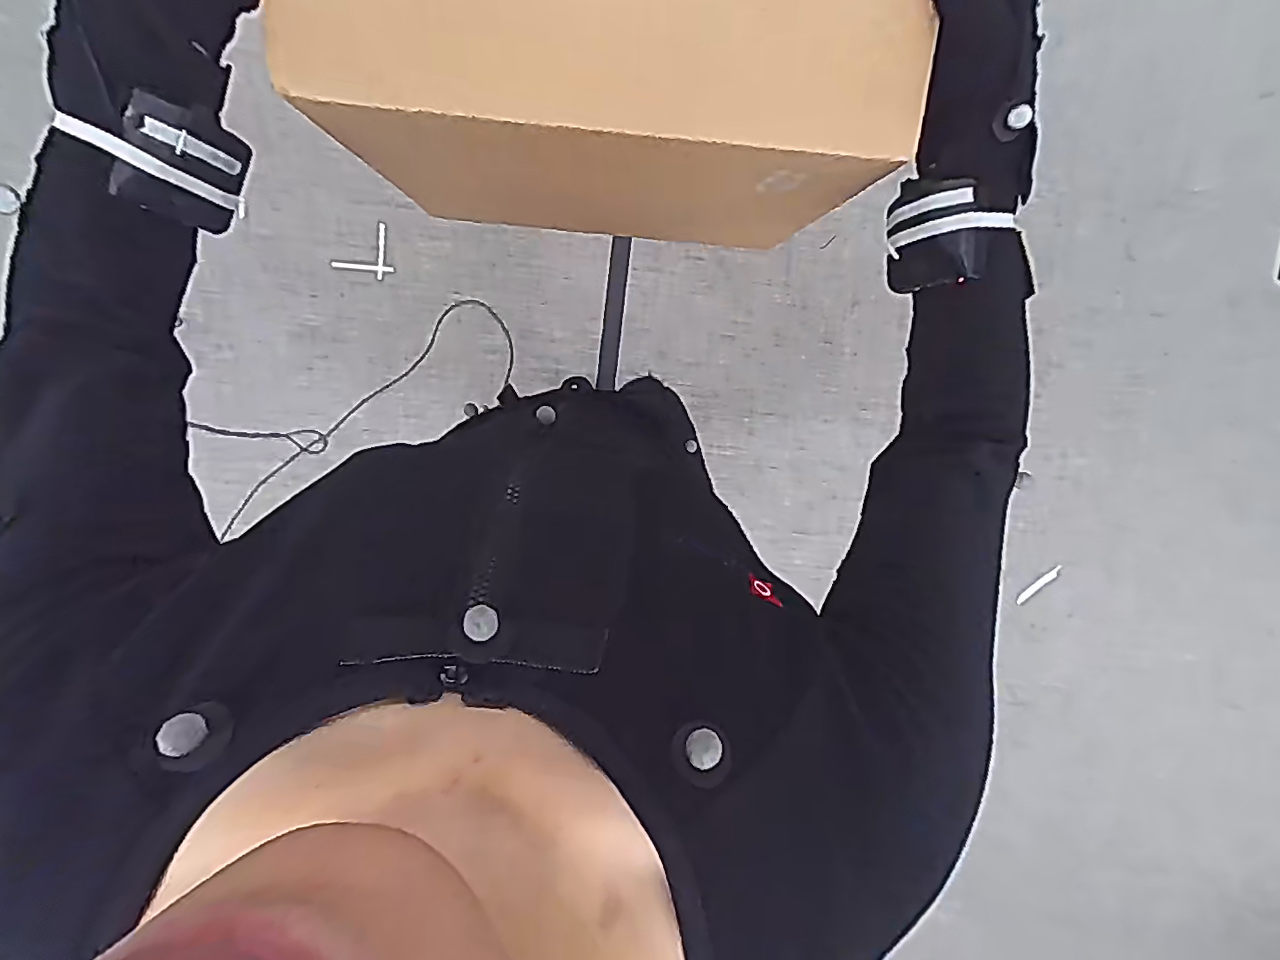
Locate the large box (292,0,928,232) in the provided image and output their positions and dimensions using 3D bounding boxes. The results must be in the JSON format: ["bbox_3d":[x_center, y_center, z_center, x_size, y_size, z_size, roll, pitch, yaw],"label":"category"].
[{"bbox_3d":[-0.019,-0.419,0.461,0.408,0.320,0.320,2,104,-5],"label":"large box"}]
